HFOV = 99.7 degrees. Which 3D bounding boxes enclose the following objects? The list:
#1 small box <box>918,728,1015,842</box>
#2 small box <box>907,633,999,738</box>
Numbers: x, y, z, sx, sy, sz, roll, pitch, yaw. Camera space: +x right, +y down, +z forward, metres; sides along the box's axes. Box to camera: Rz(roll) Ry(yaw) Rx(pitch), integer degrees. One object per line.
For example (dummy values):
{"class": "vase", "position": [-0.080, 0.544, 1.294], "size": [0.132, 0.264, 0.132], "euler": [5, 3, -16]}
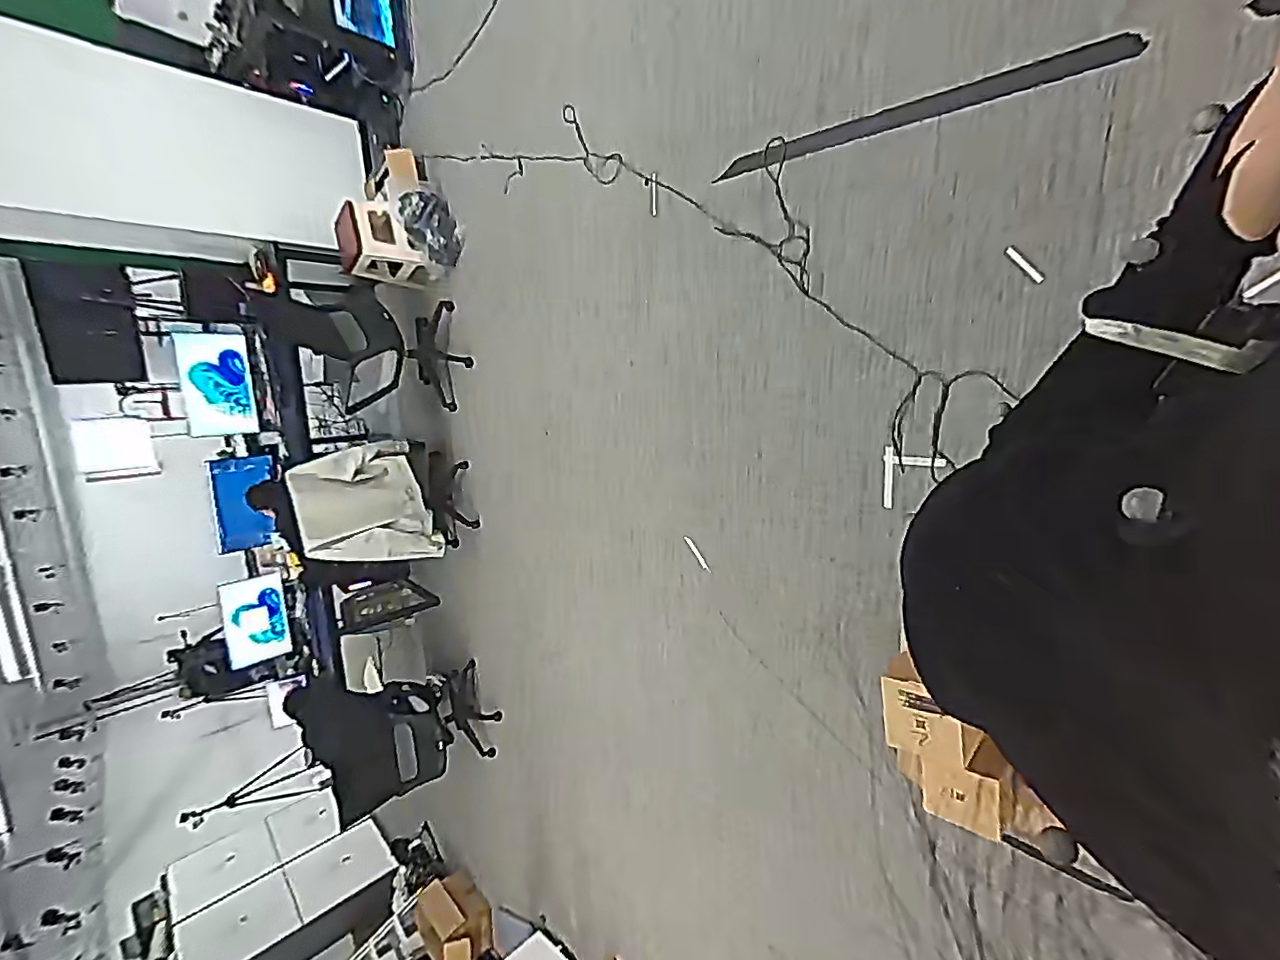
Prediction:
{"class": "small box", "position": [0.835, 0.762, 1.381], "size": [0.179, 0.176, 0.168], "euler": [1, 101, 45]}
{"class": "small box", "position": [0.791, 0.506, 1.365], "size": [0.168, 0.176, 0.179], "euler": [2, 100, 46]}
